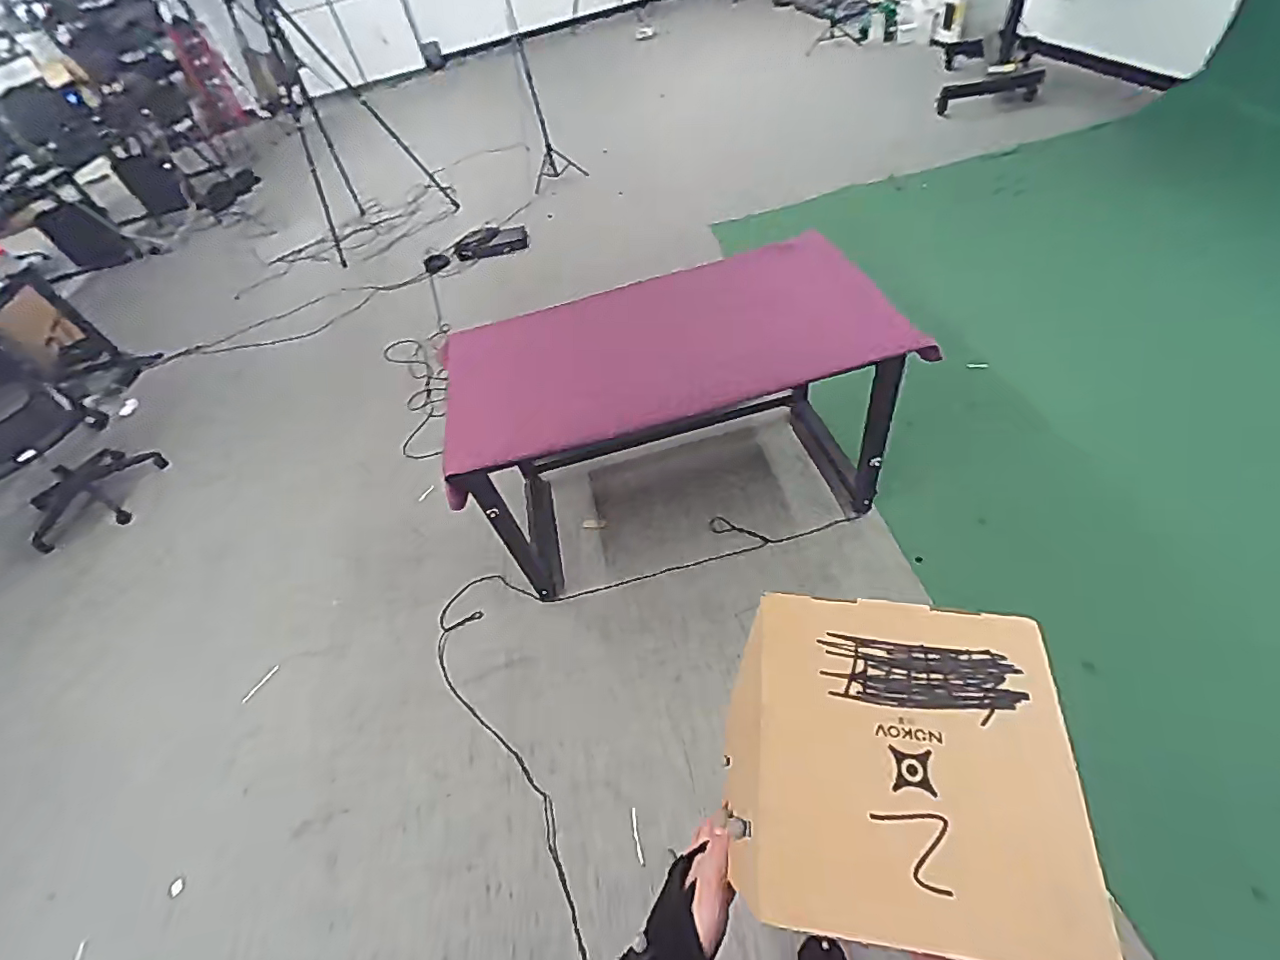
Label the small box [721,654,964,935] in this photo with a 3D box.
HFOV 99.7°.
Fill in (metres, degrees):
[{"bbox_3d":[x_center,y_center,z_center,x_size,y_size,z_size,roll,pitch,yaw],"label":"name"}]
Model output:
[{"bbox_3d":[0.164,0.279,0.496,0.168,0.176,0.179,5,57,8],"label":"small box"}]
